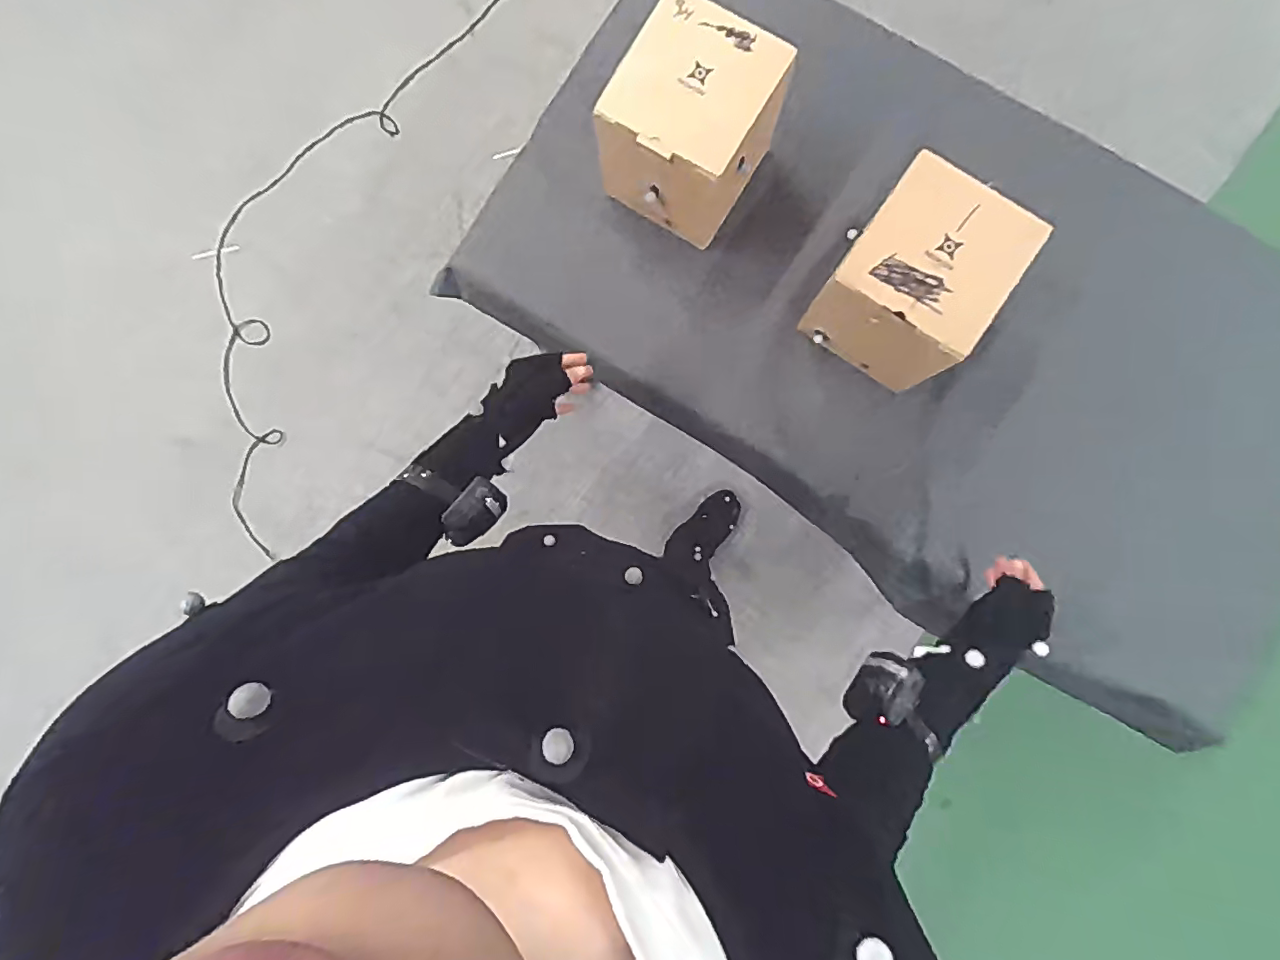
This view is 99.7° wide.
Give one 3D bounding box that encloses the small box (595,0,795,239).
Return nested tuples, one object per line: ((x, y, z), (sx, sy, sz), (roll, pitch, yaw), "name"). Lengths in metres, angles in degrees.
((0.067, -0.446, 0.684), (0.168, 0.176, 0.179), (32, 90, 4), "small box")

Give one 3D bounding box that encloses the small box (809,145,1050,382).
((0.328, -0.245, 0.660), (0.168, 0.176, 0.179), (35, 88, 4), "small box")
